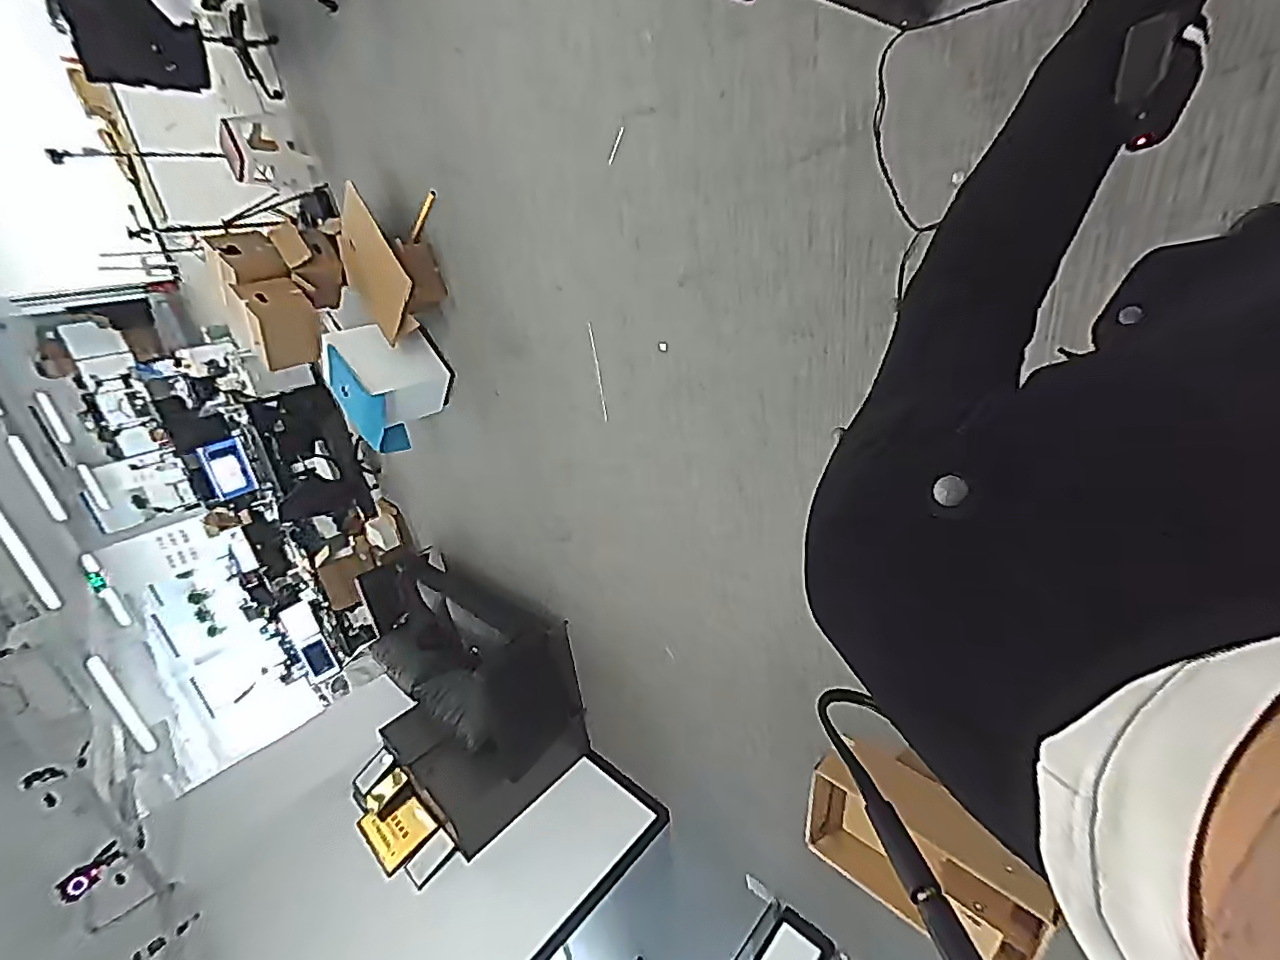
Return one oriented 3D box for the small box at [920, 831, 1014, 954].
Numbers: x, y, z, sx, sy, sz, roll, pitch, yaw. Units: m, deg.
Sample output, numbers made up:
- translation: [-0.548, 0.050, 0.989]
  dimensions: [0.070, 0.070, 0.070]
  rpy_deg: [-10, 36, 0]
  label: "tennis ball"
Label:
- translation: [0.902, 1.130, 1.491]
  dimensions: [0.168, 0.176, 0.179]
  rpy_deg: [21, 127, 38]
  label: "small box"
